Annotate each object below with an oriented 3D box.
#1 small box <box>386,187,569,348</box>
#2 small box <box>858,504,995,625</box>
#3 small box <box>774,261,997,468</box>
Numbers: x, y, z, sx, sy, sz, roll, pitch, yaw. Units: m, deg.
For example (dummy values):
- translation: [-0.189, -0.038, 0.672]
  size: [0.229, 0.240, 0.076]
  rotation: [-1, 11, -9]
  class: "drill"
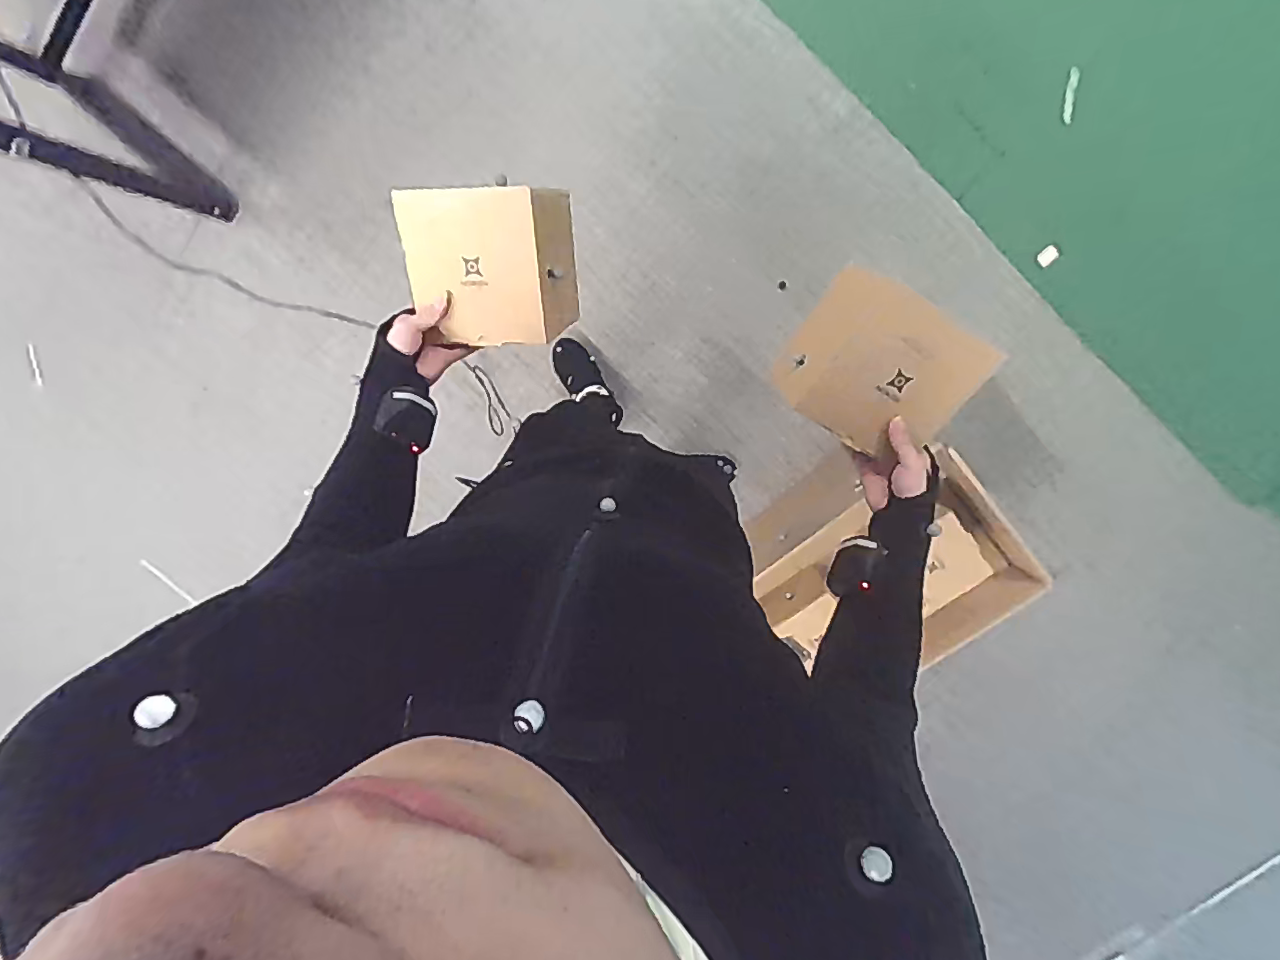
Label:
- translation: [-0.196, -0.279, 0.710]
  size: [0.168, 0.176, 0.179]
  rotation: [1, 117, 7]
  class: "small box"
- translation: [0.612, 0.174, 1.180]
  size: [0.179, 0.176, 0.168]
  rotation: [-36, 96, 10]
  class: "small box"
- translation: [0.290, -0.152, 0.688]
  size: [0.168, 0.176, 0.179]
  rotation: [28, 116, -11]
  class: "small box"
